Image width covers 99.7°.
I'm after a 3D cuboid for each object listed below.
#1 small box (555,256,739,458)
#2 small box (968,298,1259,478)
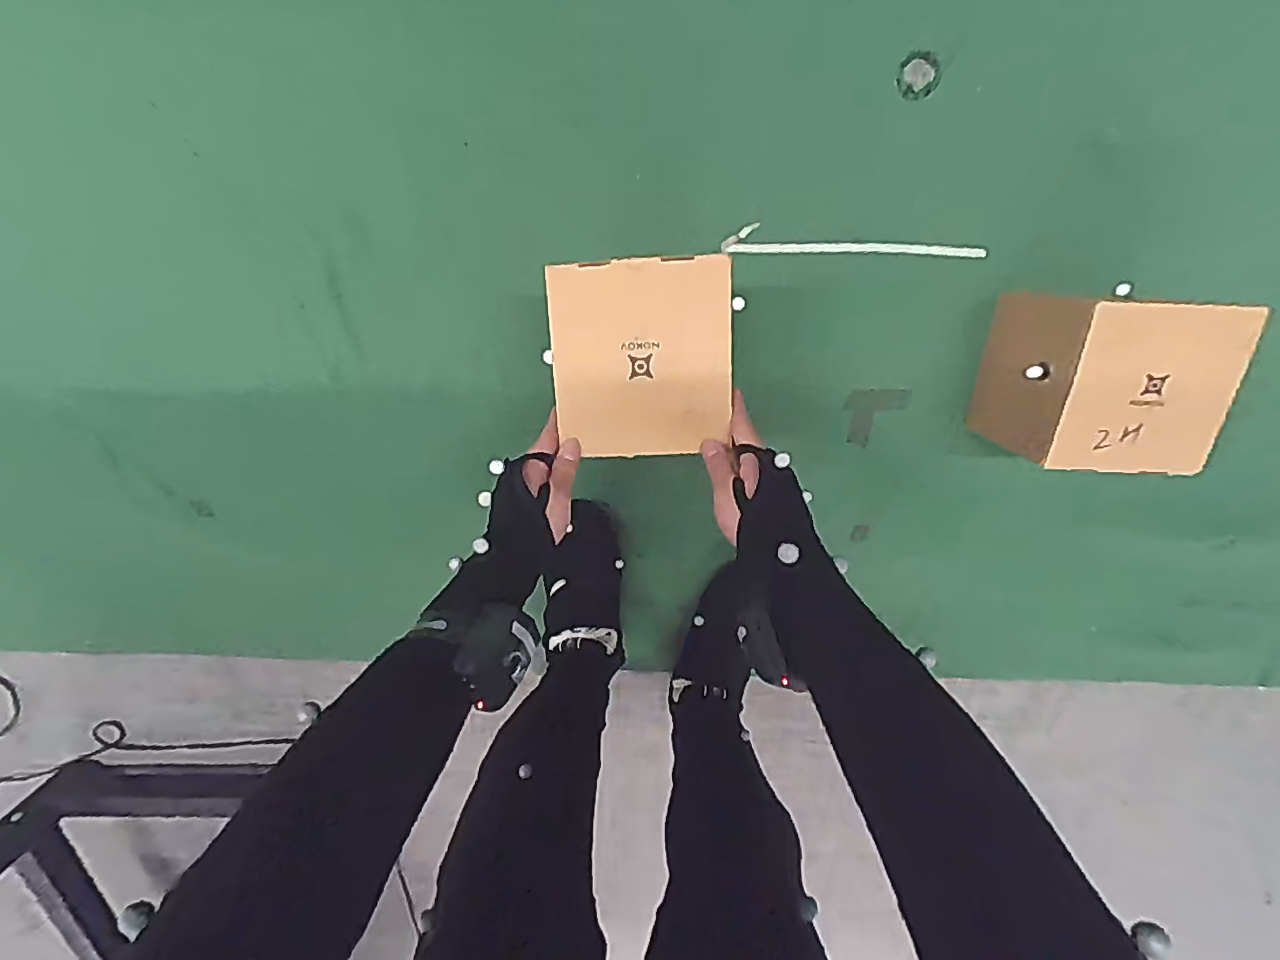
[{"bbox_3d":[0.015,-0.124,0.567,0.168,0.176,0.179,-2,101,5],"label":"small box"},{"bbox_3d":[0.522,-0.116,0.632,0.168,0.176,0.179,3,112,0],"label":"small box"}]
